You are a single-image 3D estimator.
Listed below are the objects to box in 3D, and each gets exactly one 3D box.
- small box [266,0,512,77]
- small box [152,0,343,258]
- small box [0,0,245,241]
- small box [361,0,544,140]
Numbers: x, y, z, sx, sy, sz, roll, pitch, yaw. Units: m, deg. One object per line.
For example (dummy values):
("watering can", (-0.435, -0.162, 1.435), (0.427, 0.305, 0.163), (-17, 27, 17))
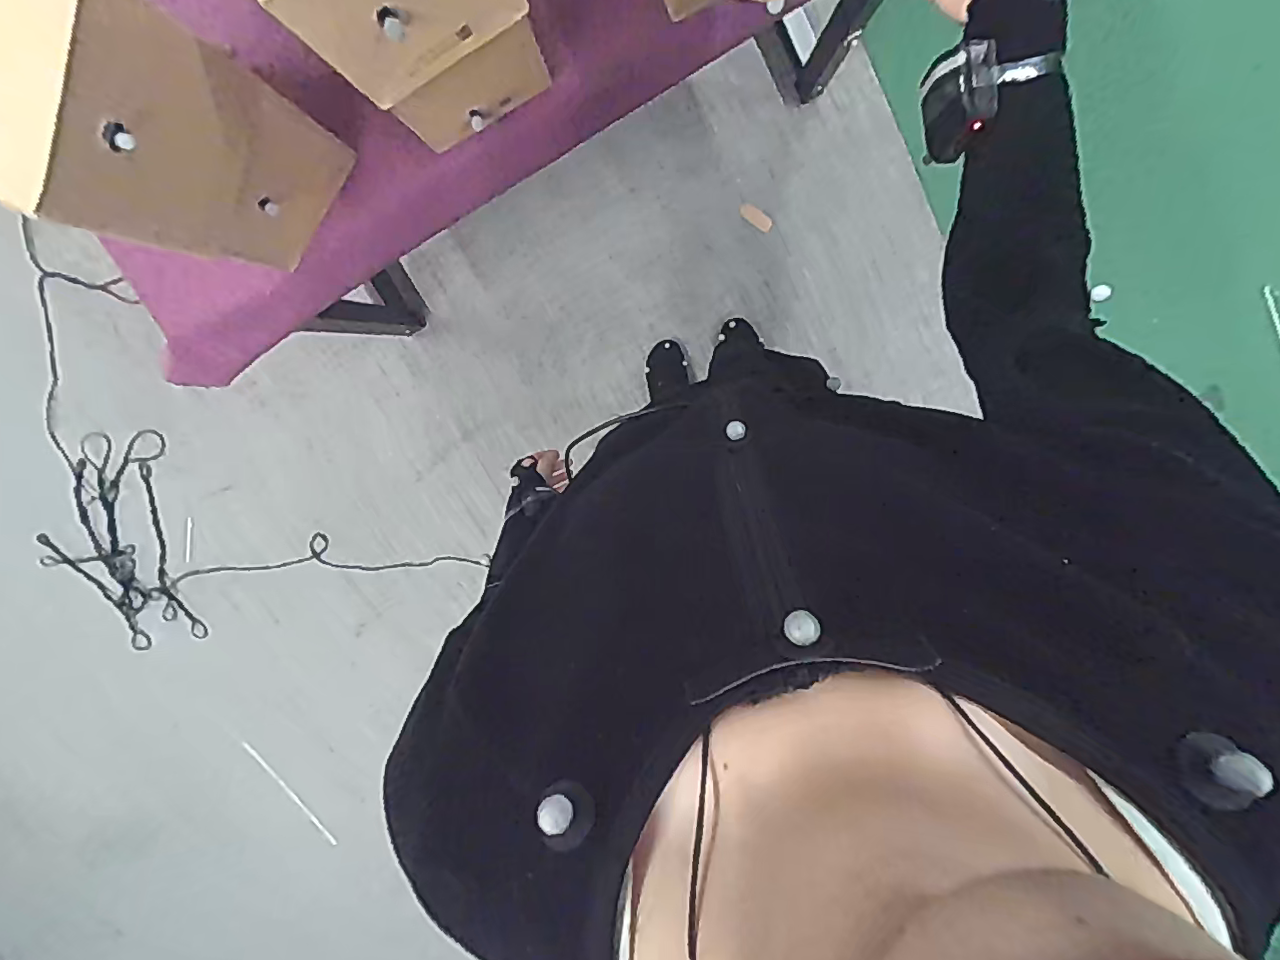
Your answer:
("small box", (-0.216, -0.448, 0.402), (0.168, 0.176, 0.179), (-27, 100, 9))
("small box", (-0.469, -0.371, 0.591), (0.168, 0.176, 0.179), (36, 102, -7))
("small box", (-0.466, -0.319, 0.433), (0.168, 0.176, 0.179), (24, 102, -5))
("small box", (-0.221, -0.500, 0.557), (0.168, 0.176, 0.179), (-27, 102, 8))
